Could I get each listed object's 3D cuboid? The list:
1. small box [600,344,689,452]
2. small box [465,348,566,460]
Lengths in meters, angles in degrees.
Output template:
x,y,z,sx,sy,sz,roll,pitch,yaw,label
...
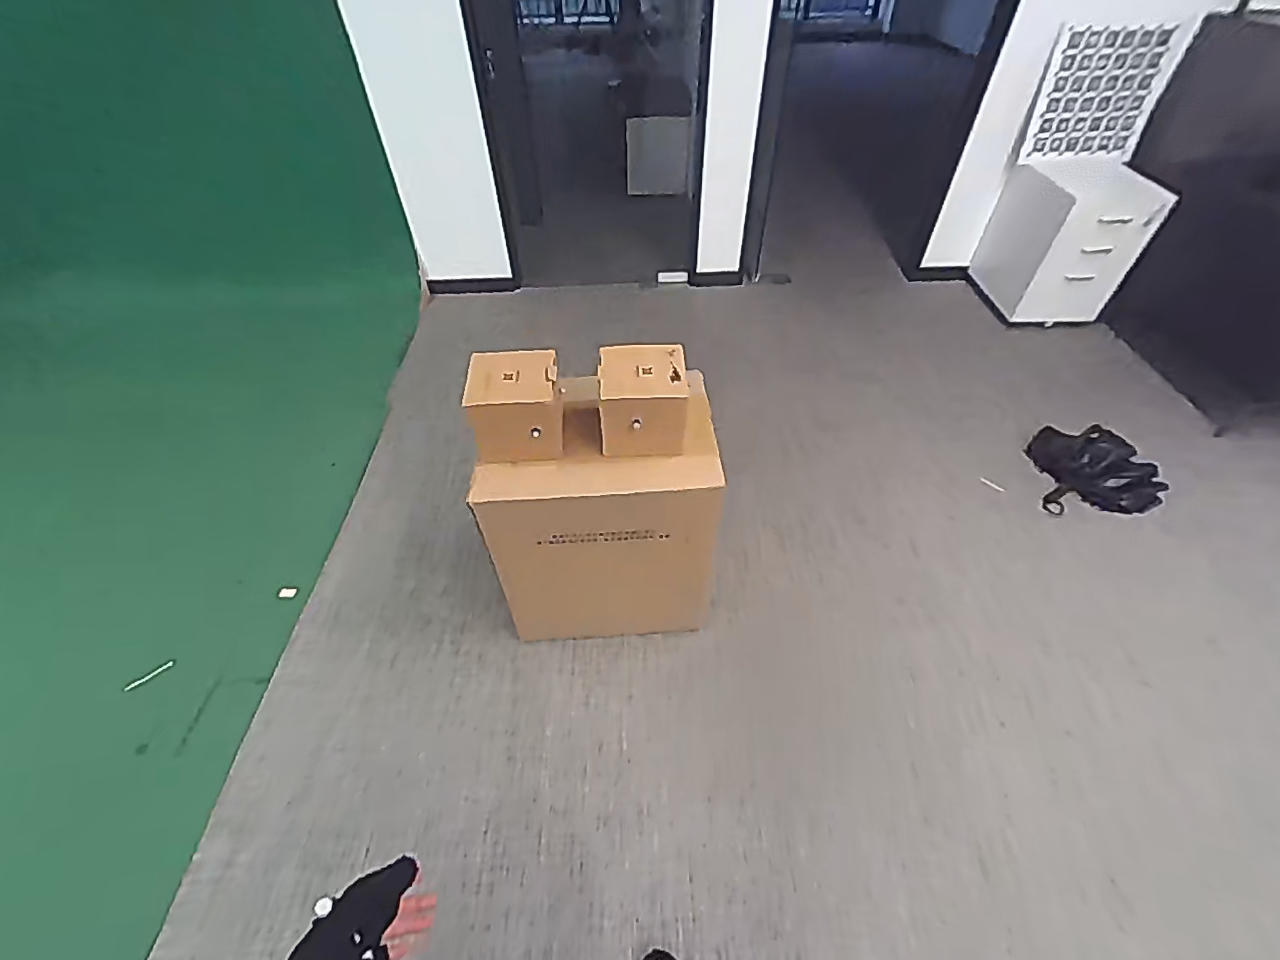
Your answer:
x,y,z,sx,sy,sz,roll,pitch,yaw,label
0.009,-0.171,1.154,0.179,0.176,0.168,-2,52,-1,small box
-0.253,-0.158,1.146,0.179,0.176,0.168,-4,50,-2,small box
